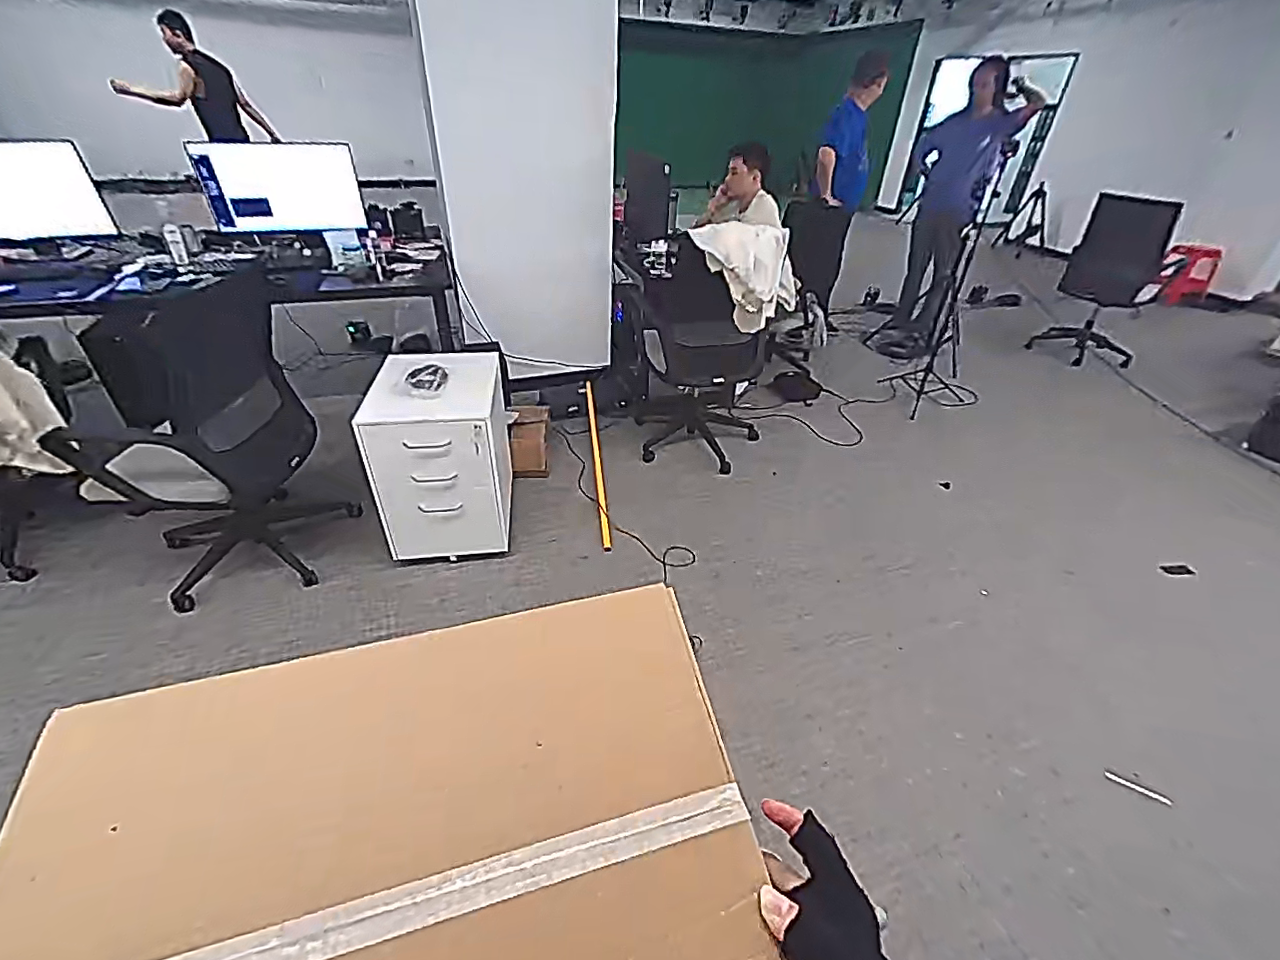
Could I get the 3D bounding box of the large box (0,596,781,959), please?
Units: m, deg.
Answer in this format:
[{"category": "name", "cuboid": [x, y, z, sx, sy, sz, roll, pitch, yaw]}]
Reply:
[{"category": "large box", "cuboid": [-0.143, 0.333, 0.414, 0.408, 0.320, 0.320, -9, 51, -12]}]
